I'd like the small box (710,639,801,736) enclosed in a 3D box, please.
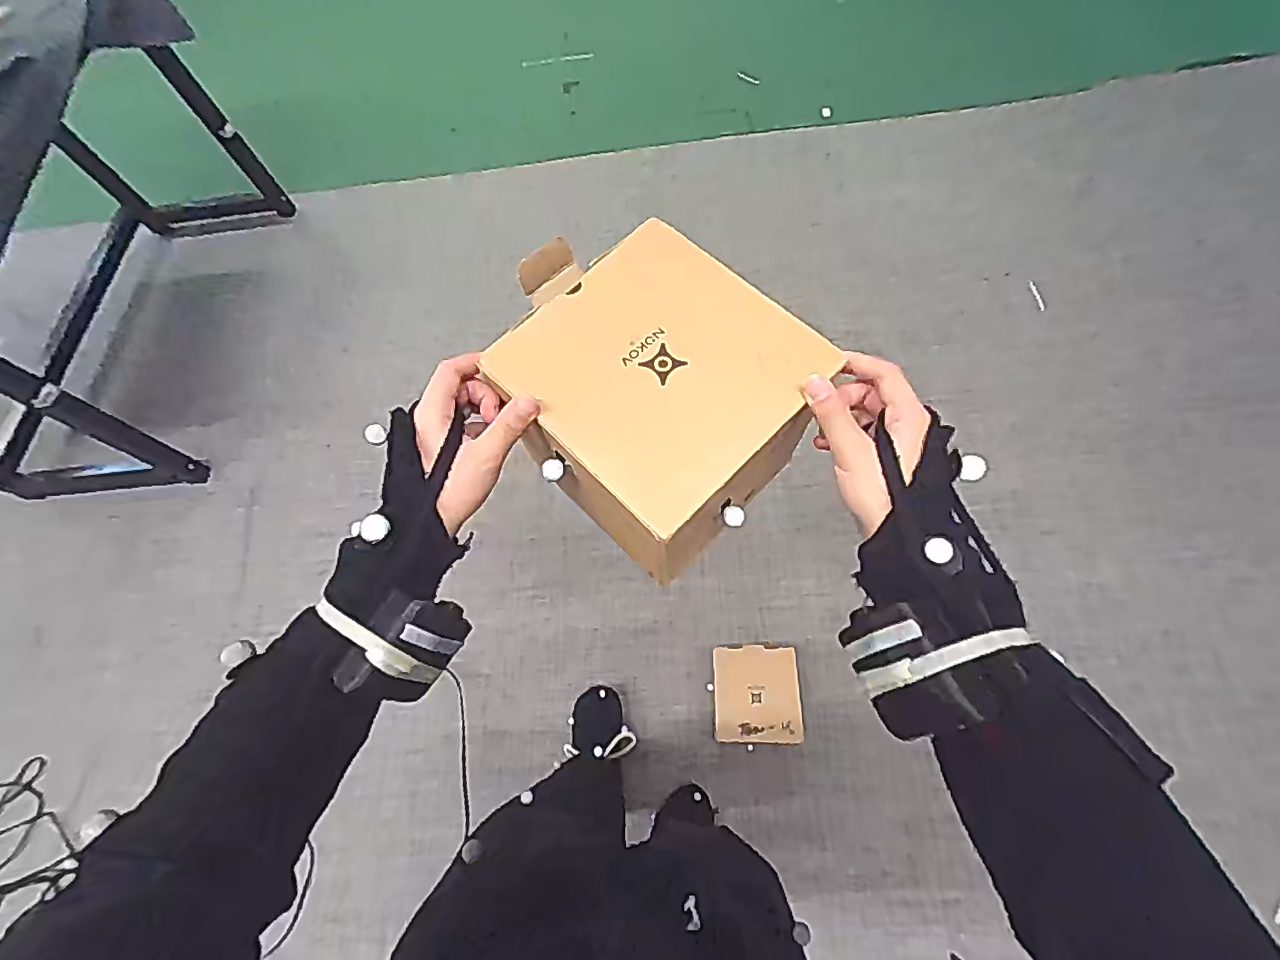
[{"bbox_3d":[0.232,0.435,1.128,0.168,0.176,0.179,-1,65,6],"label":"small box"}]
